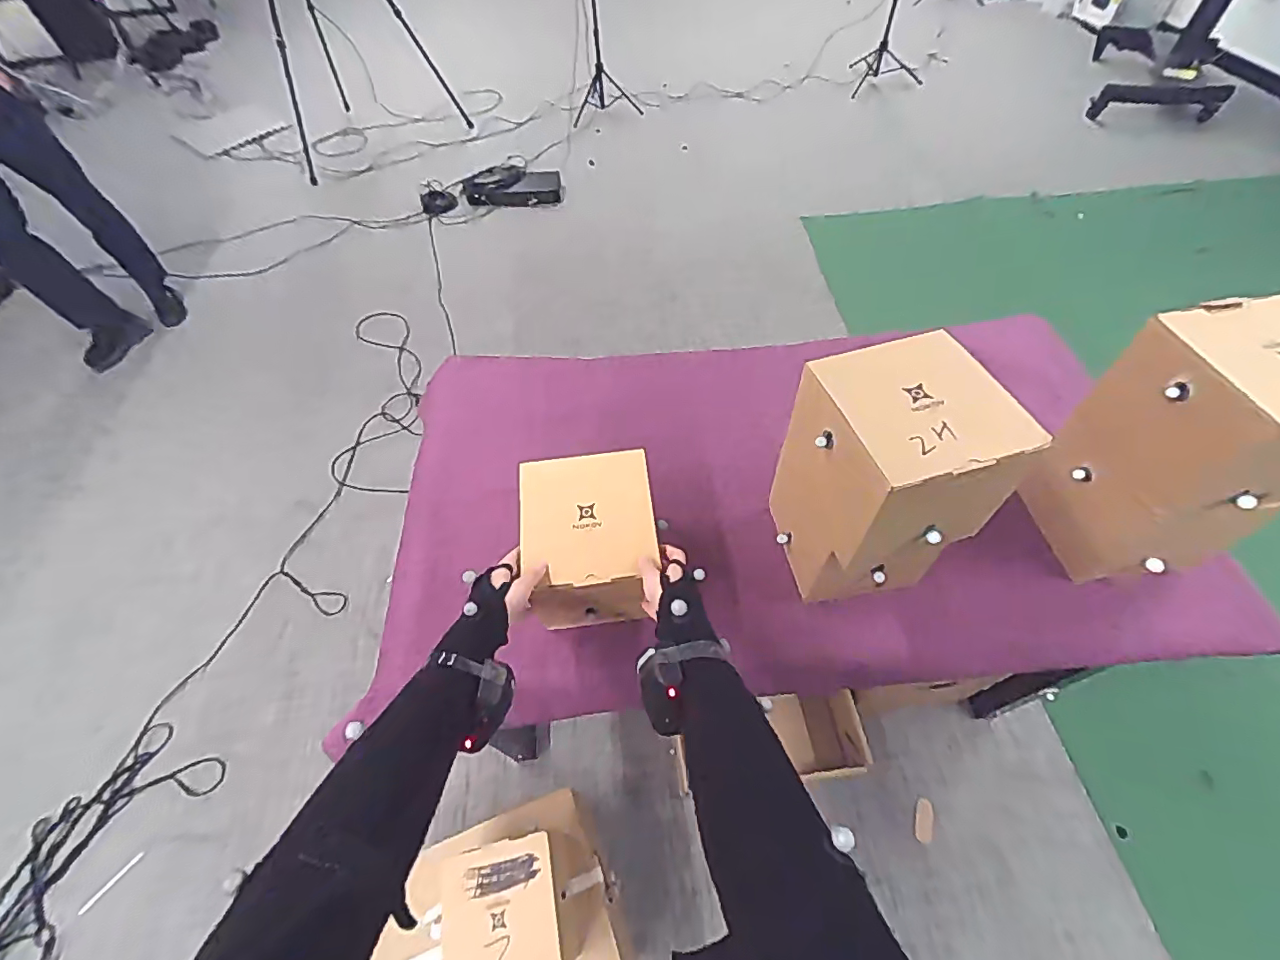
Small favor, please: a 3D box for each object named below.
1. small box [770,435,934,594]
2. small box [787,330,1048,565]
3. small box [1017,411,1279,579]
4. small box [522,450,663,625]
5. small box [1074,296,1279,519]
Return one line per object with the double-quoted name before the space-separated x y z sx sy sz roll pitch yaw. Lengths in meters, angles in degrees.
"small box" 0.292 0.044 0.748 0.168 0.176 0.179 -9 54 -4
"small box" 0.280 -0.033 0.601 0.168 0.176 0.179 -14 55 -6
"small box" 0.673 0.017 0.745 0.168 0.176 0.179 -6 54 0
"small box" -0.062 0.082 0.733 0.168 0.176 0.179 -7 60 -2
"small box" 0.659 -0.080 0.615 0.168 0.176 0.179 -9 53 -1
